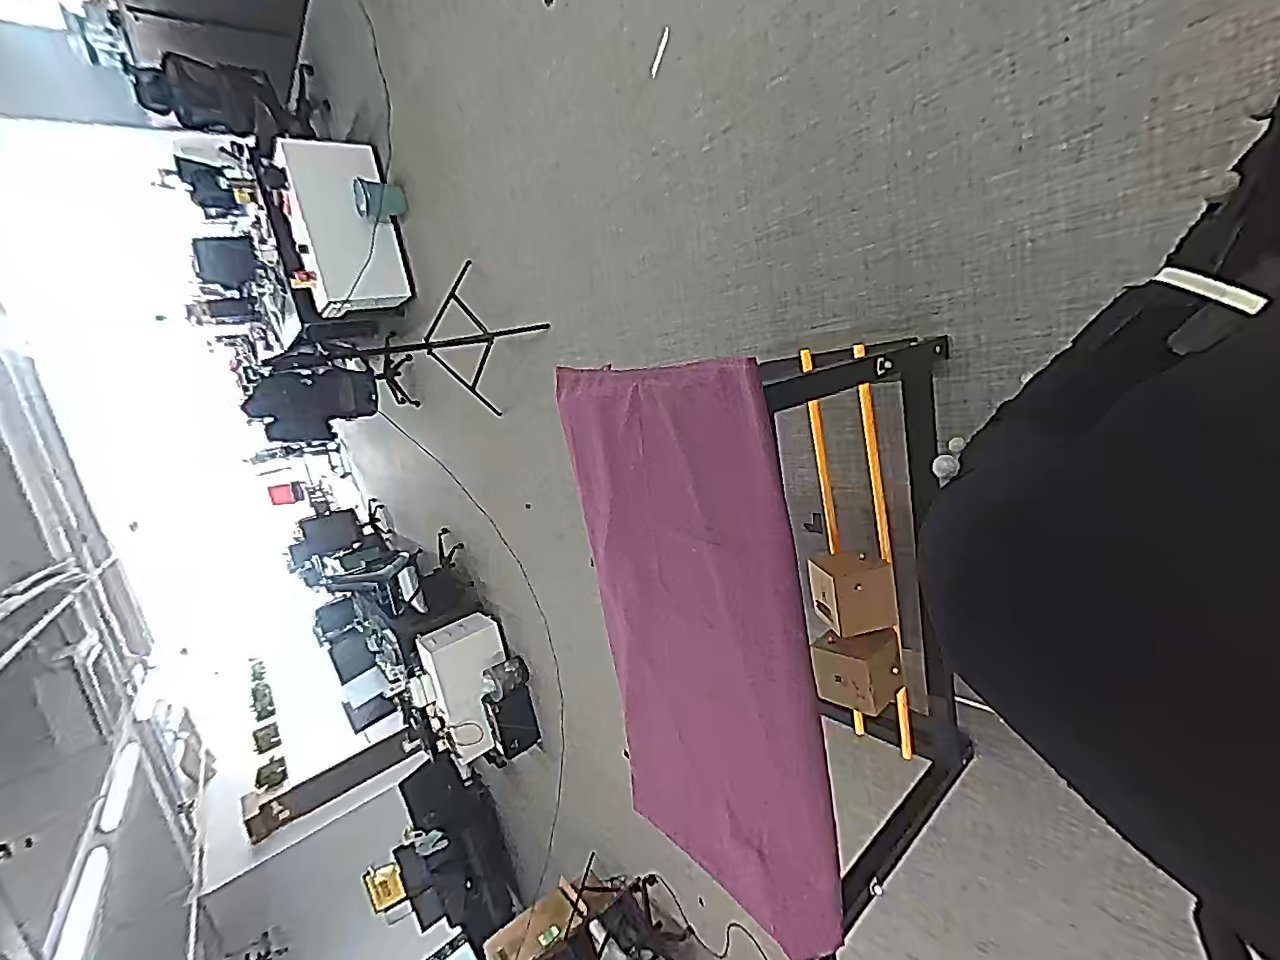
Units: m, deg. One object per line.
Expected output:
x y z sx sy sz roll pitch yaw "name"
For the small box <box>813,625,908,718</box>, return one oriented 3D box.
0.614 0.522 1.506 0.179 0.176 0.168 -1 106 52 "small box"
